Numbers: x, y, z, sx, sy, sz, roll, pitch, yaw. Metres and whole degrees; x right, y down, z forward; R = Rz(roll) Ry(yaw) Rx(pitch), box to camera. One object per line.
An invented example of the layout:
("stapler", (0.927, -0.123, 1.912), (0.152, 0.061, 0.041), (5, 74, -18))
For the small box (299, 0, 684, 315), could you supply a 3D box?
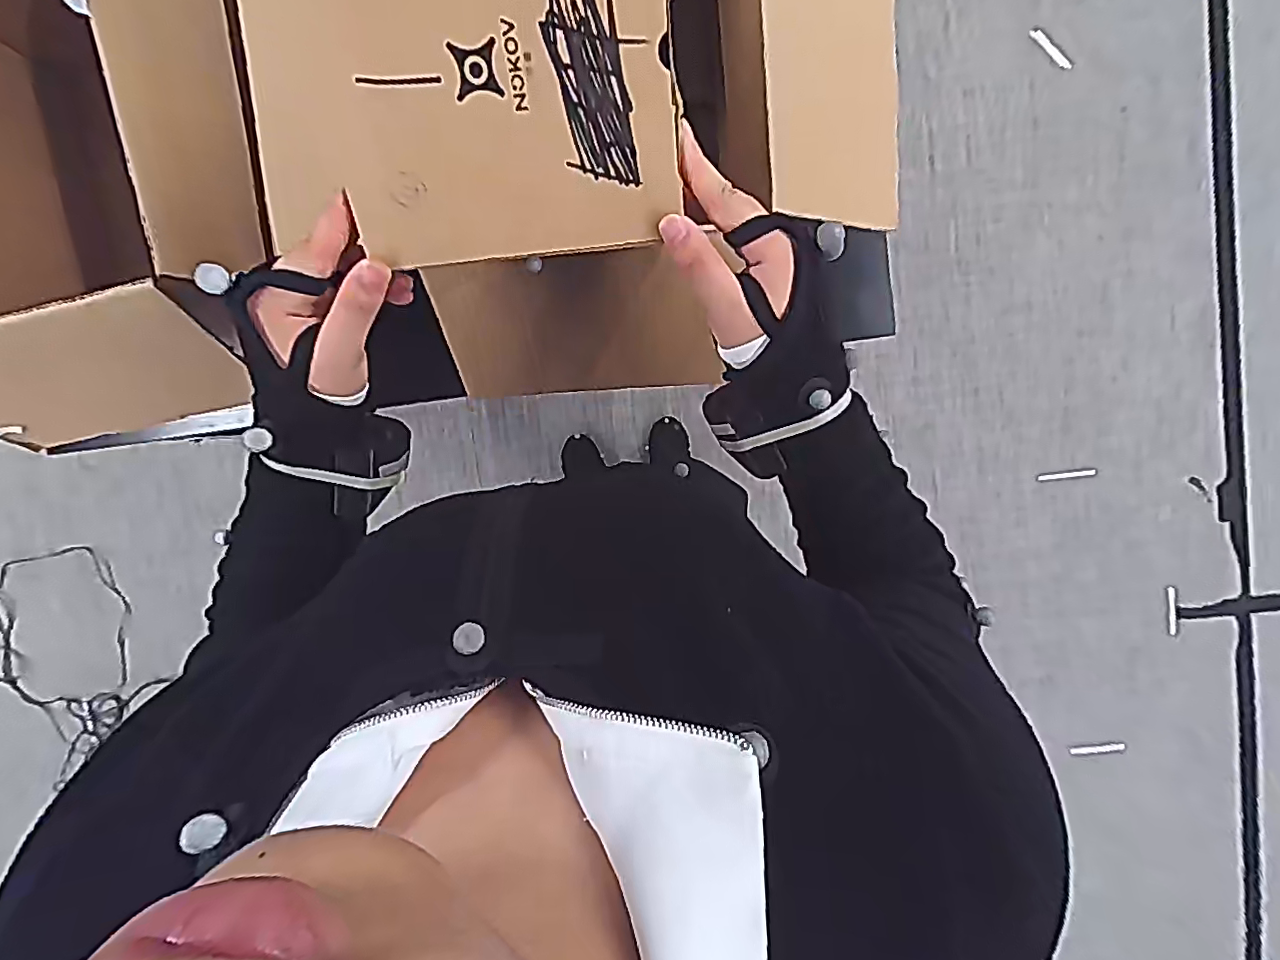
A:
("small box", (-0.071, -0.214, 0.350), (0.179, 0.176, 0.168), (-6, 118, 1))
